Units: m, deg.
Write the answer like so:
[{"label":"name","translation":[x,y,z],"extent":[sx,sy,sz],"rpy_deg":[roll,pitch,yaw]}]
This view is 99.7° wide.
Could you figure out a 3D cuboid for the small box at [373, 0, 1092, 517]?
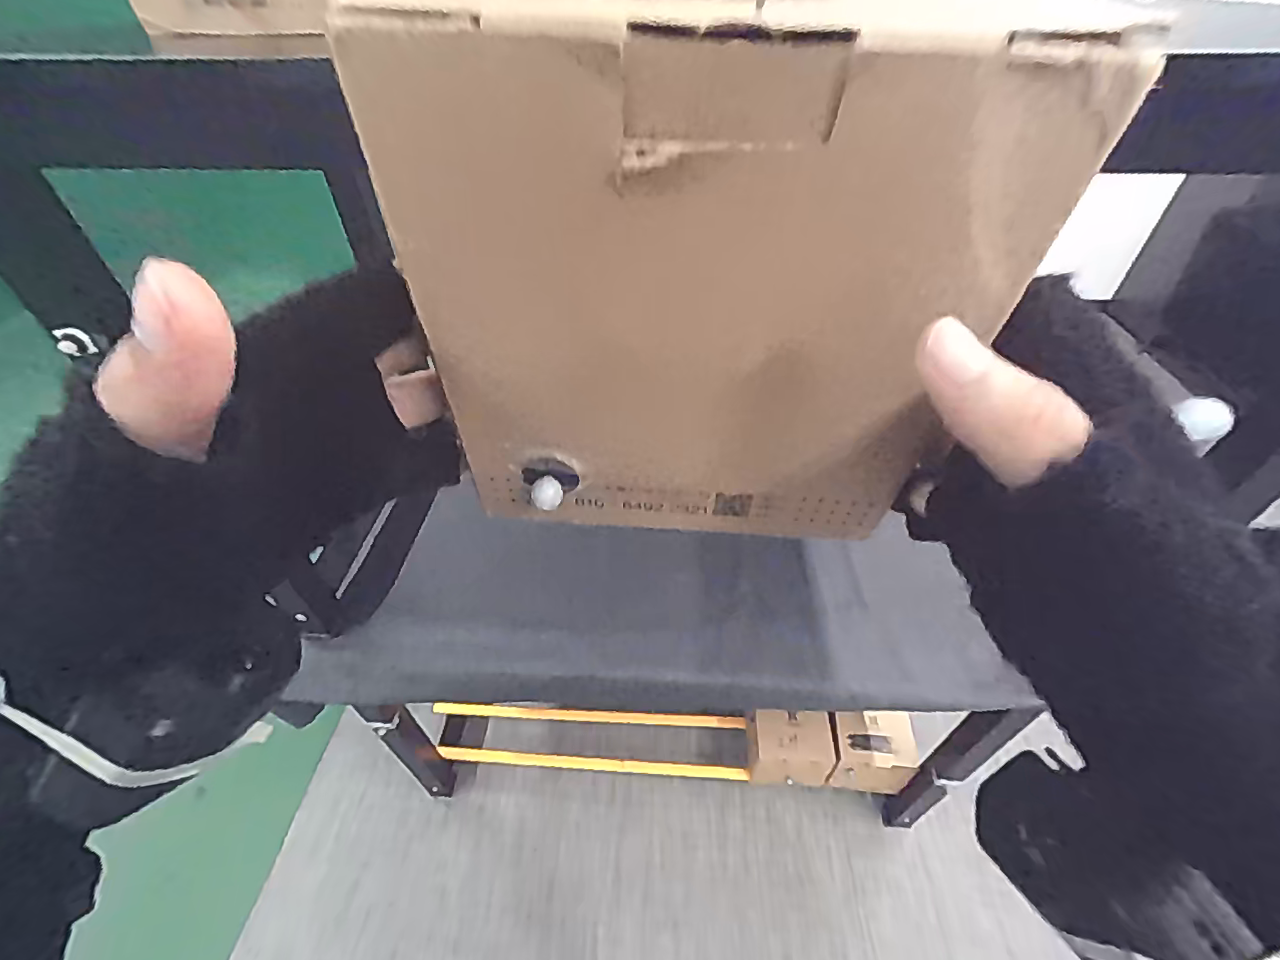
[{"label":"small box","translation":[0.024,-0.102,0.235],"extent":[0.168,0.176,0.179],"rpy_deg":[5,49,1]}]
